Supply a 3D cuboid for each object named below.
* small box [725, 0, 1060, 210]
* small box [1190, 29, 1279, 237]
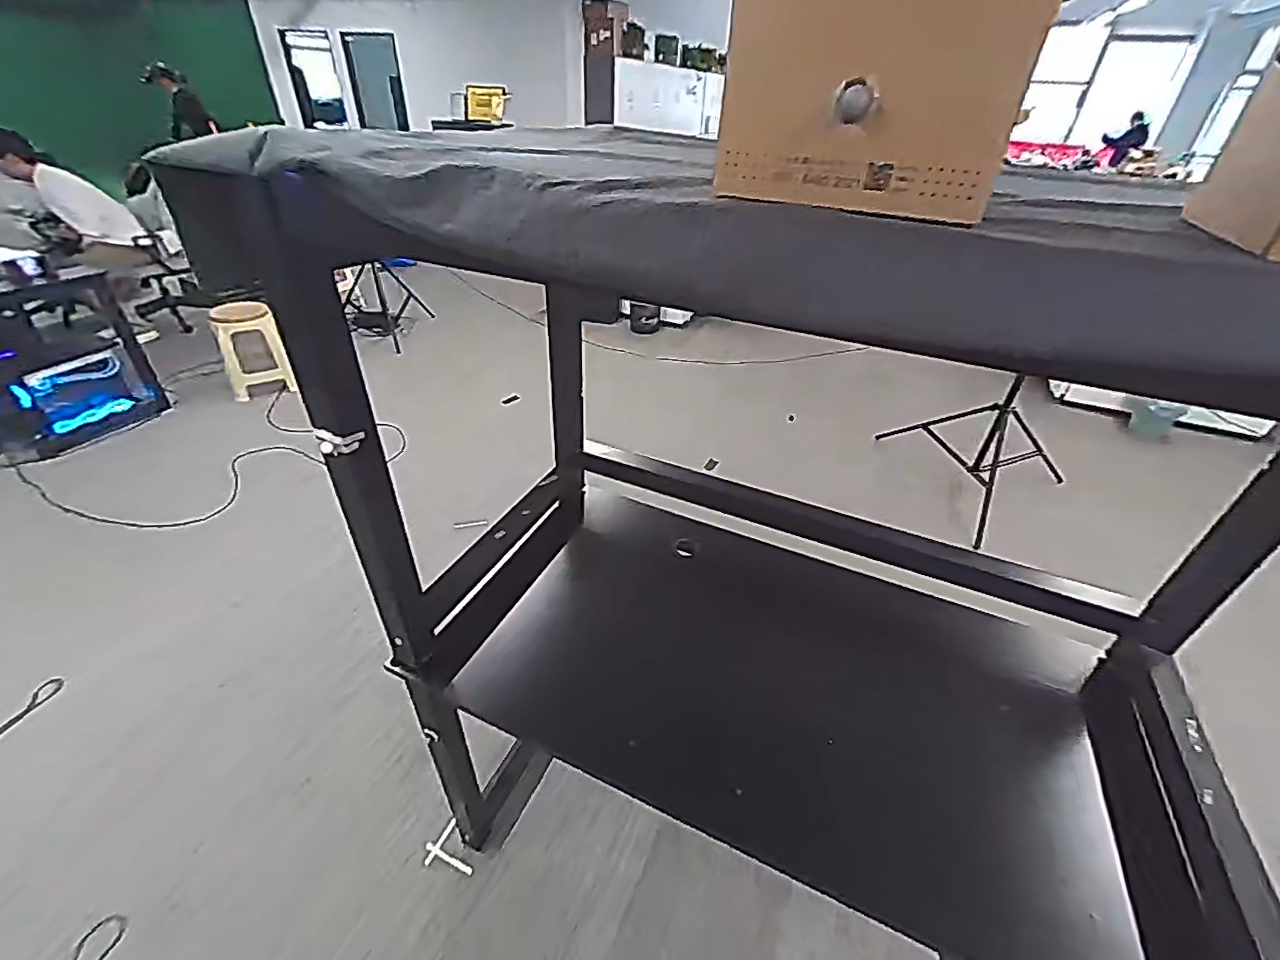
[{"bbox_3d":[0.164,-0.285,0.355,0.168,0.176,0.179,17,36,20],"label":"small box"},{"bbox_3d":[0.438,-0.205,0.265,0.168,0.176,0.179,19,37,22],"label":"small box"}]
